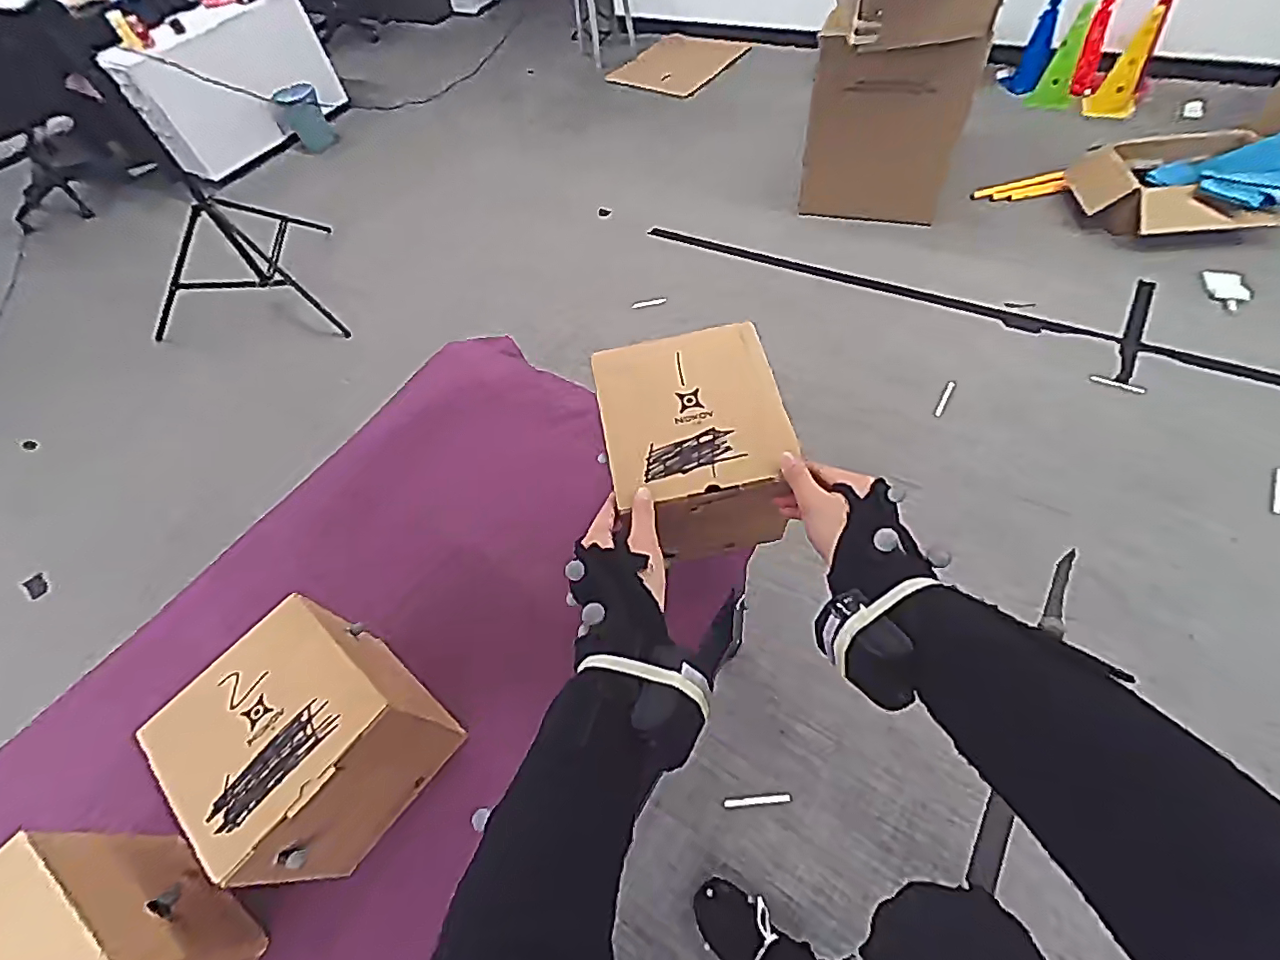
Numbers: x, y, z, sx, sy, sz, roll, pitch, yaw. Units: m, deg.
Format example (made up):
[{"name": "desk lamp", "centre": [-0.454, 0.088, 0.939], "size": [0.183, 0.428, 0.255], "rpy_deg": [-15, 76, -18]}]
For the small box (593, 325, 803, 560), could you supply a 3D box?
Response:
[{"name": "small box", "centre": [0.055, -0.027, 0.569], "size": [0.168, 0.176, 0.179], "rpy_deg": [-12, 62, 0]}]
